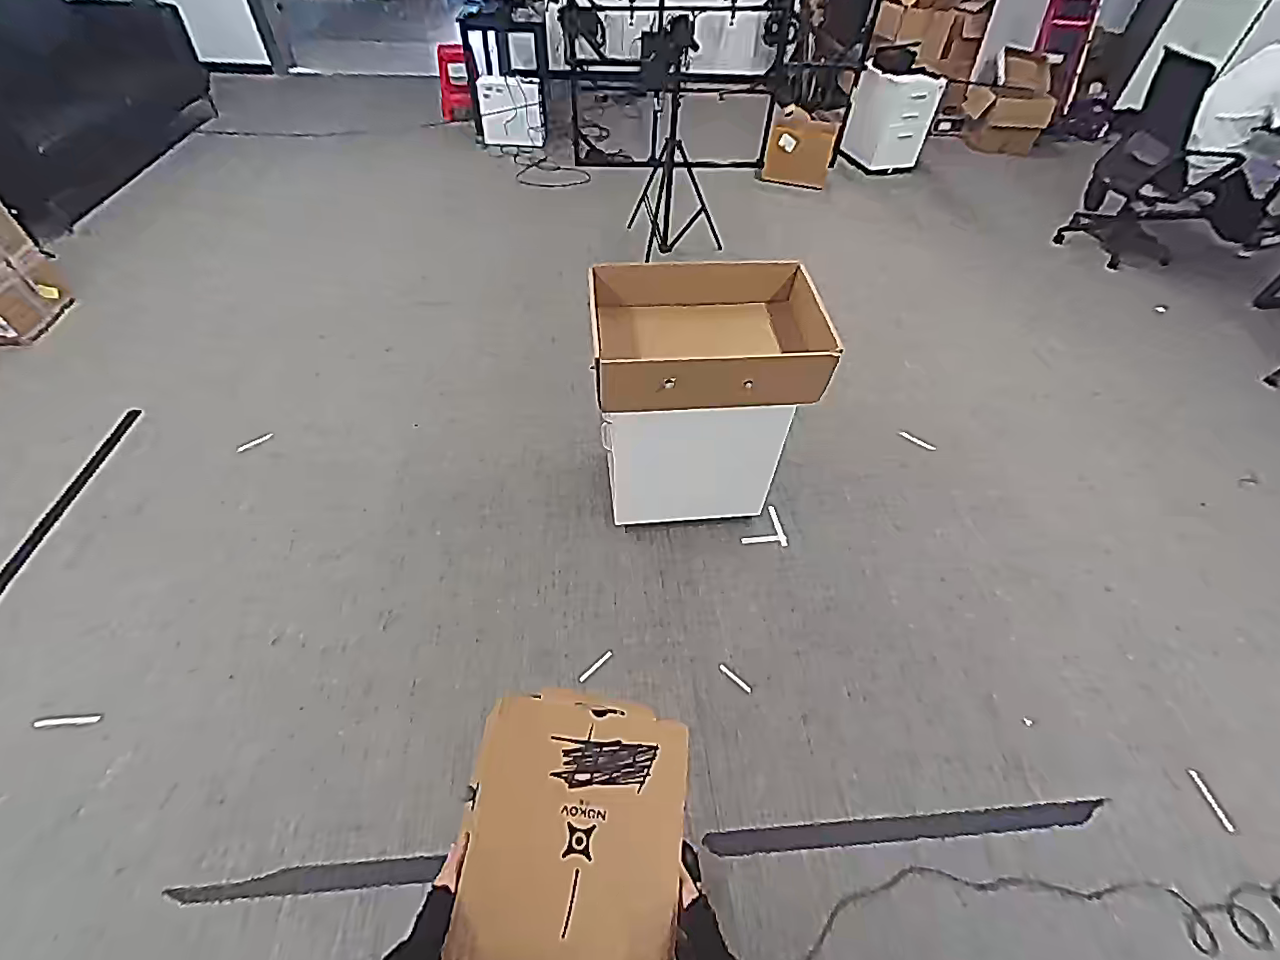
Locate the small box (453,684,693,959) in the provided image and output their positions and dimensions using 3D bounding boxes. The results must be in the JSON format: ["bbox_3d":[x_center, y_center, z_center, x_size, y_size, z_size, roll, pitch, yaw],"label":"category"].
[{"bbox_3d":[-0.063,0.302,0.482,0.168,0.176,0.179,15,56,-12],"label":"small box"}]
